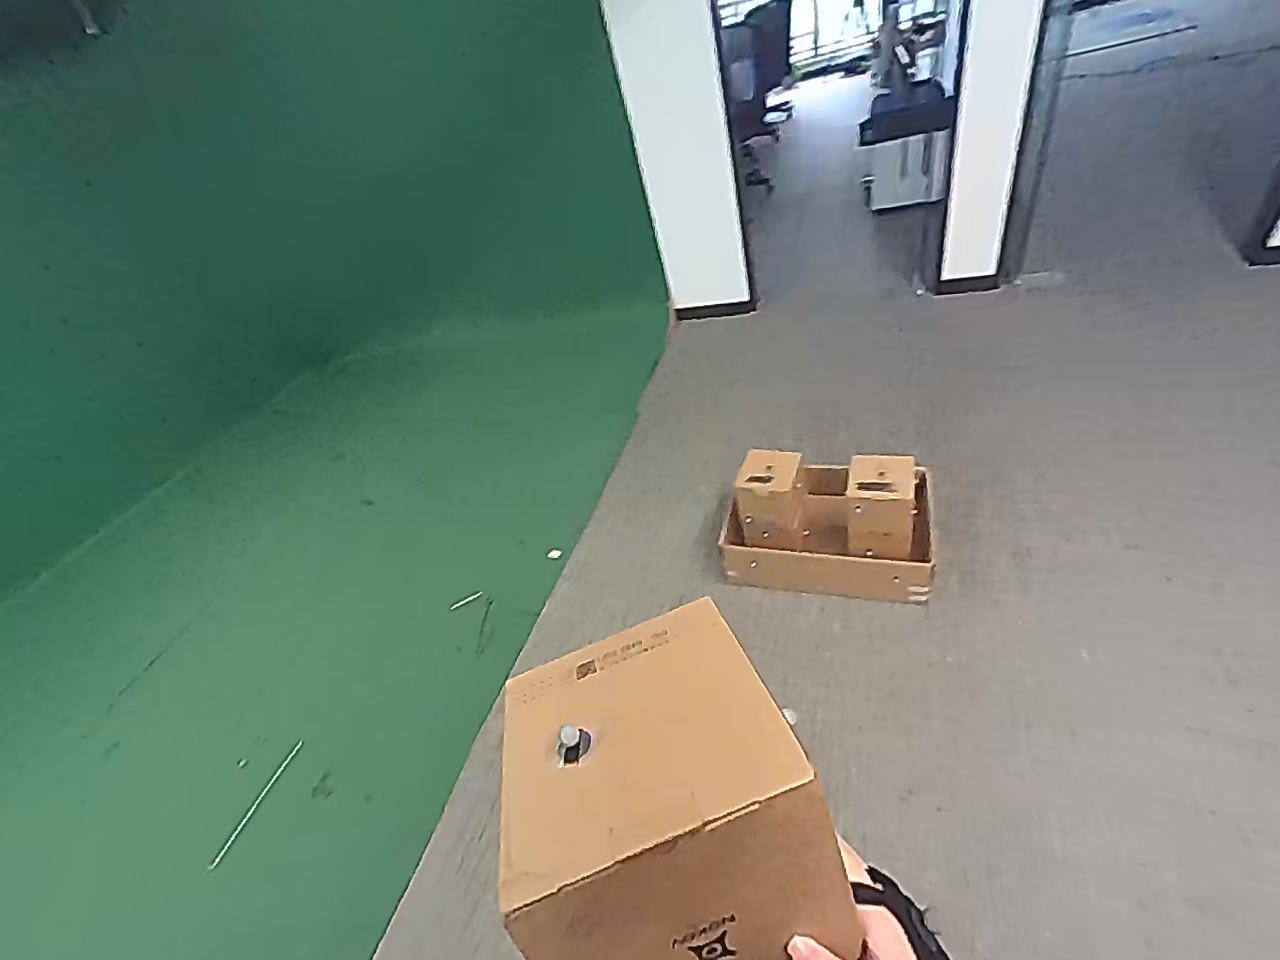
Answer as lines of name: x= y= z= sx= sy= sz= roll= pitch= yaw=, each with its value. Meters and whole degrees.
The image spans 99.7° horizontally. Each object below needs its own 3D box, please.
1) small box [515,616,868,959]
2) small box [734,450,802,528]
small box: x=0.024 y=0.216 z=0.367 sx=0.168 sy=0.179 sz=0.176 roll=-20 pitch=22 yaw=-3
small box: x=0.406 y=0.029 z=1.687 sx=0.168 sy=0.176 sz=0.179 roll=7 pitch=46 yaw=27
